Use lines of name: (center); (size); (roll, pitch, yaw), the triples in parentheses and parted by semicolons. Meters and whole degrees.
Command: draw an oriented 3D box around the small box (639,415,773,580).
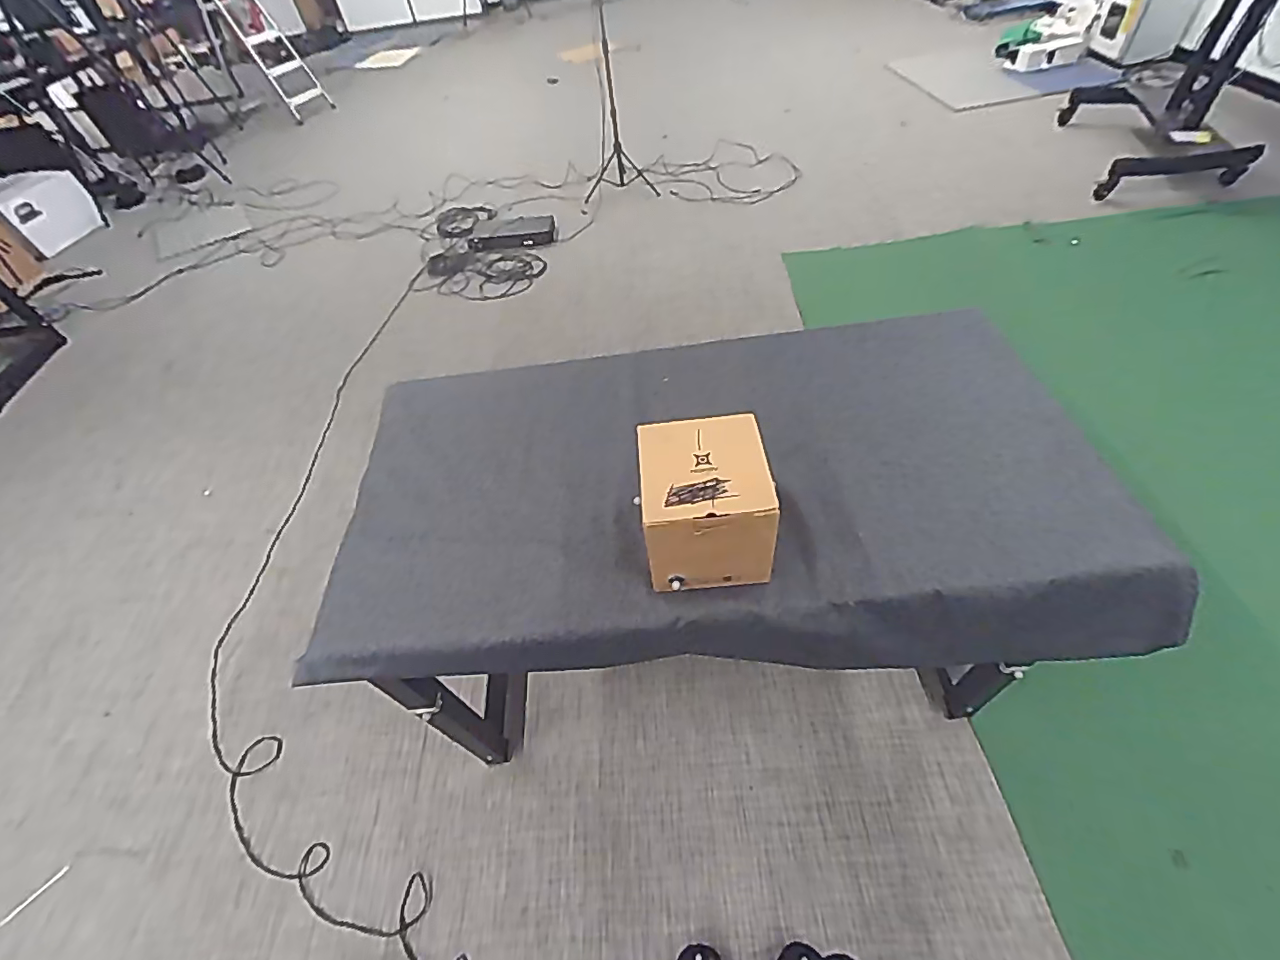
small box: (0.091, 0.033, 0.781); (0.168, 0.176, 0.179); (-6, 48, 3)
